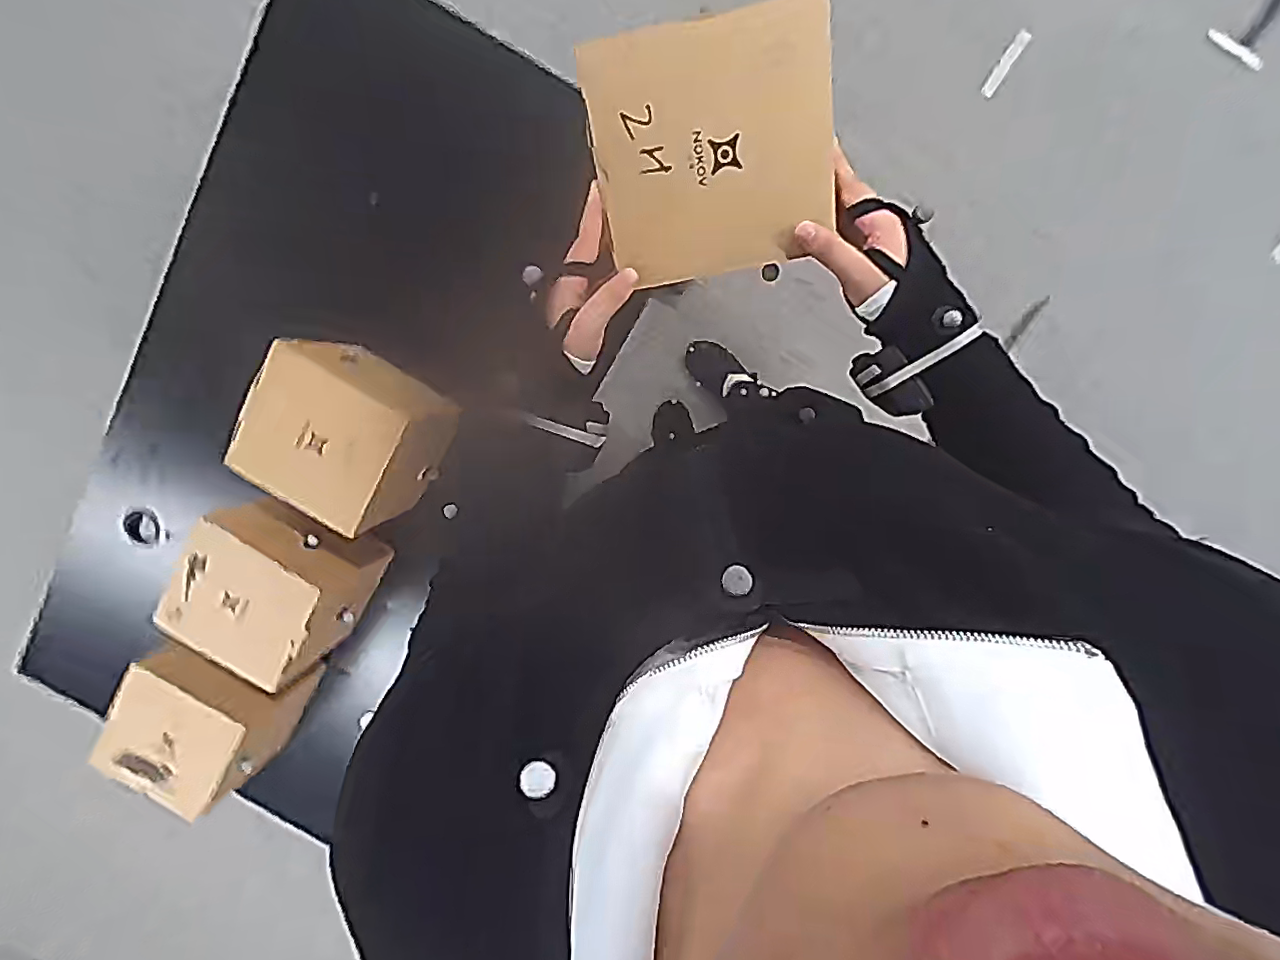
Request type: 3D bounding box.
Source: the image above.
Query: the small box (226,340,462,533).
[{"bbox_3d":[-0.367,-0.061,0.700,0.179,0.176,0.168,30,102,-2],"label":"small box"}]

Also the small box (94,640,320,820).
[{"bbox_3d":[-0.612,0.331,0.787,0.168,0.176,0.179,31,100,-2],"label":"small box"}]

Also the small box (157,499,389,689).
[{"bbox_3d":[-0.486,0.141,0.744,0.179,0.176,0.168,31,100,-2],"label":"small box"}]
